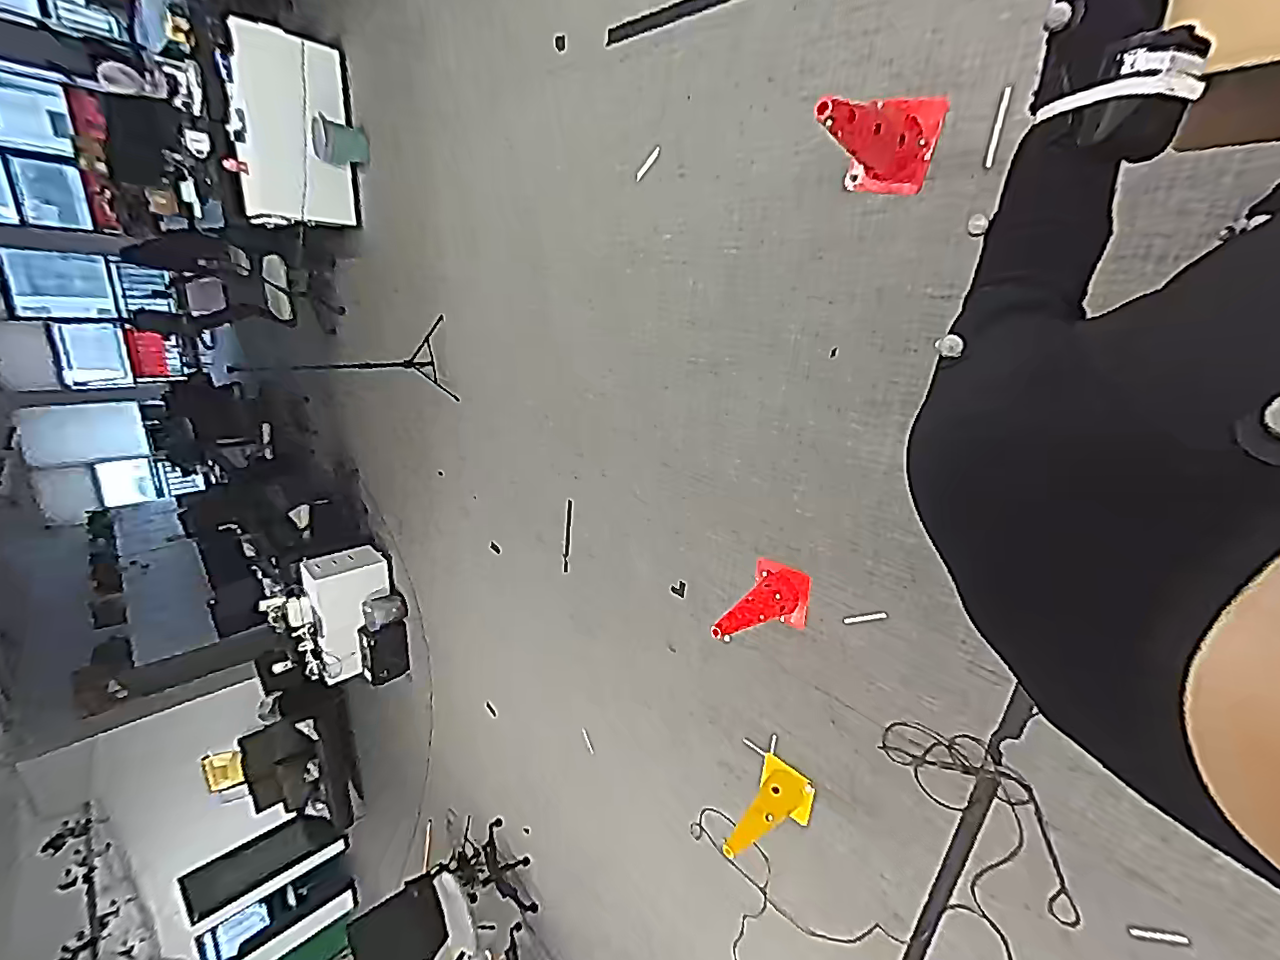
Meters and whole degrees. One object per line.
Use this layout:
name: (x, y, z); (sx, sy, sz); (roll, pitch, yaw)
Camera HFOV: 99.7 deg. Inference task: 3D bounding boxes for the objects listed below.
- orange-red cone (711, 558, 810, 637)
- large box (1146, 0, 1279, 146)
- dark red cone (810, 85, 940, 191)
orange-red cone: (0.349, 0.409, 1.694); (0.198, 0.360, 0.199); (20, 117, 43)
large box: (0.587, -0.415, 0.290); (0.408, 0.320, 0.320); (18, 117, 42)
dark red cone: (0.481, -0.782, 1.189); (0.201, 0.394, 0.202); (29, 121, 37)
